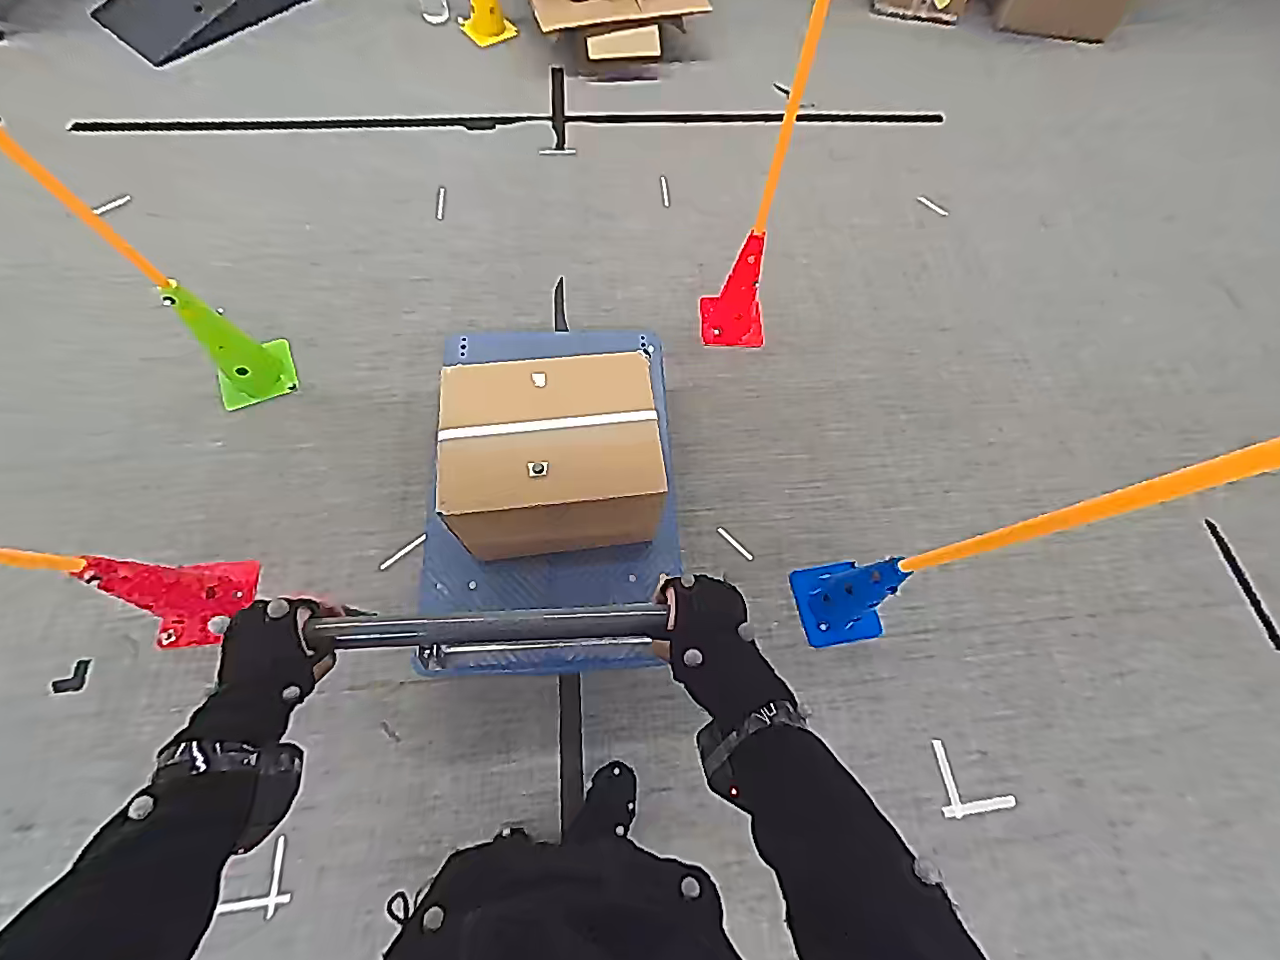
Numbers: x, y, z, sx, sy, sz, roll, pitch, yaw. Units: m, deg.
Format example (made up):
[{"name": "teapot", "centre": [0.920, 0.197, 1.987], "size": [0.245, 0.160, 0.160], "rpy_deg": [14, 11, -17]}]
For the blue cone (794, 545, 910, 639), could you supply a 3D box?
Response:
[{"name": "blue cone", "centre": [0.515, 0.235, 1.241], "size": [0.193, 0.380, 0.192], "rpy_deg": [-7, 65, -7]}]

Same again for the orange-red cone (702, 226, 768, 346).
[{"name": "orange-red cone", "centre": [0.310, -0.585, 1.581], "size": [0.199, 0.360, 0.198], "rpy_deg": [3, 66, -3]}]
